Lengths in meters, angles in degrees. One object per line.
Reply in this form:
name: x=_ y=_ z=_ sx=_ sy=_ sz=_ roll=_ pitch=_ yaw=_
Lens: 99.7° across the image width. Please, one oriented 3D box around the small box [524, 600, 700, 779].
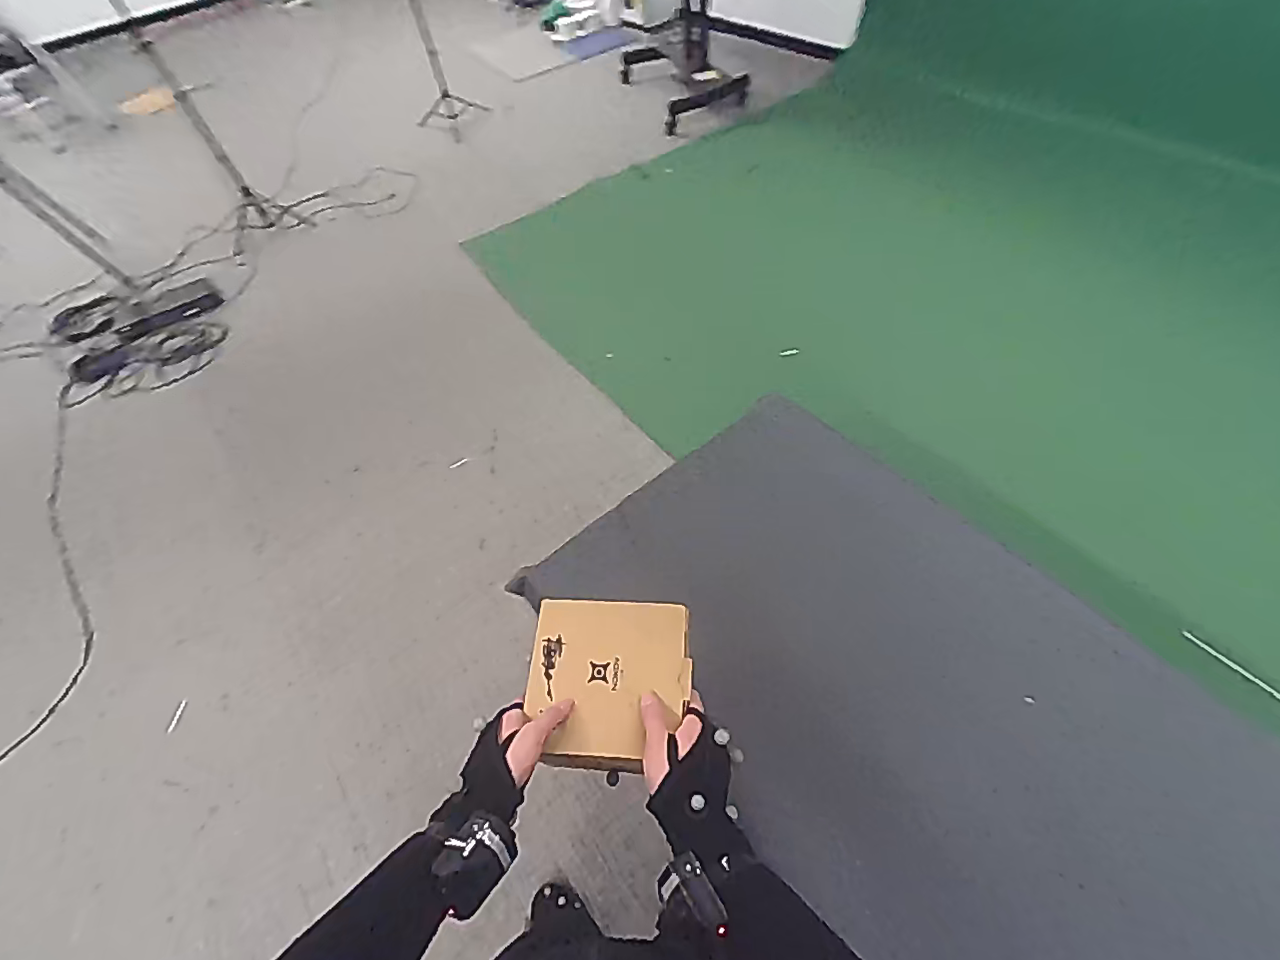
small box: x=-0.022 y=0.257 z=0.651 sx=0.179 sy=0.176 sz=0.168 roll=3 pitch=58 yaw=5
